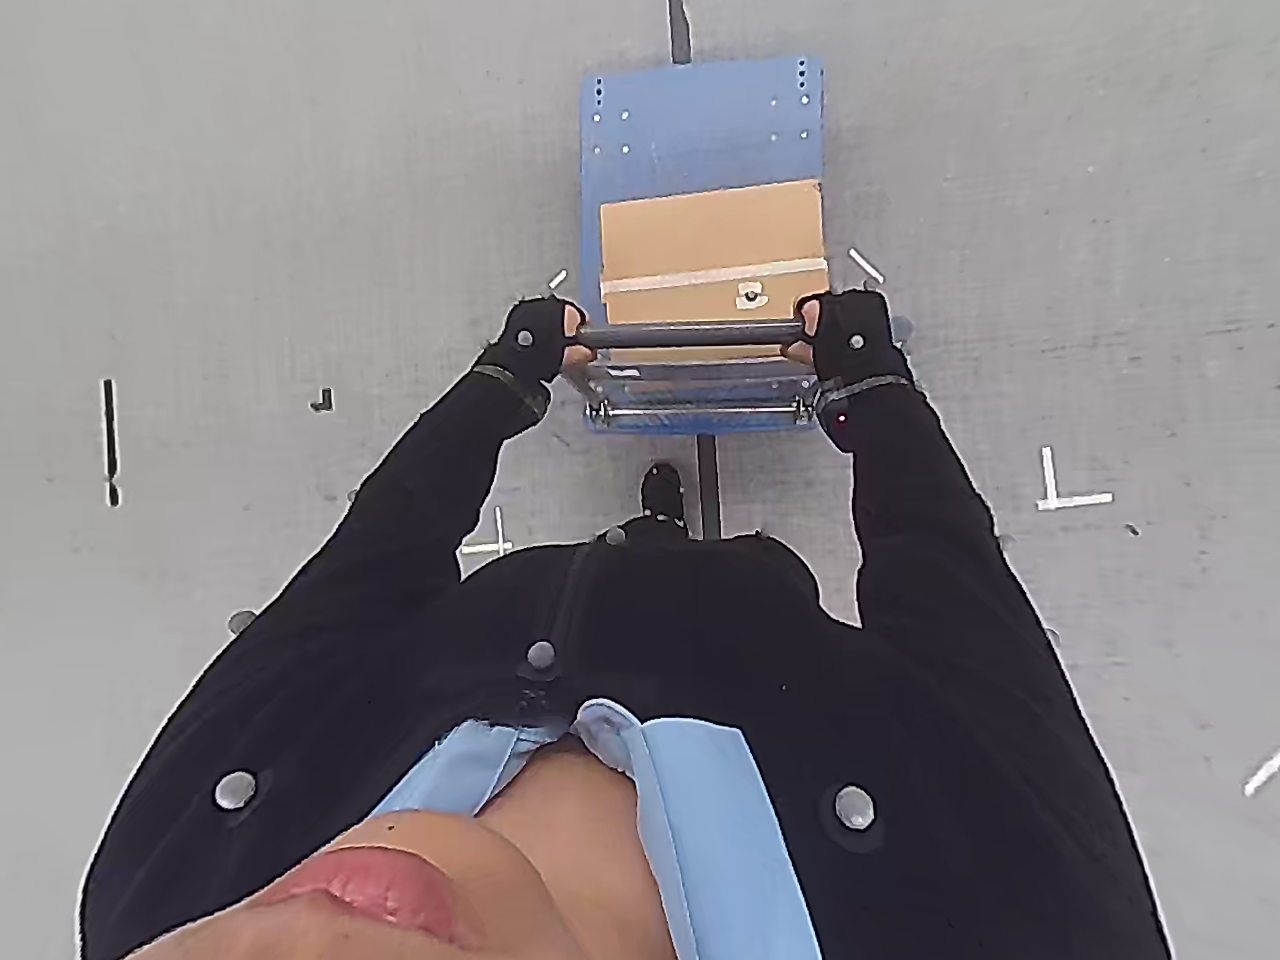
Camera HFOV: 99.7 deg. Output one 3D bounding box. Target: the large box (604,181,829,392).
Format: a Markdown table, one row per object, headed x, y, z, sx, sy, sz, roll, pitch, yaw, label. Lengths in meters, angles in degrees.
| x | y | z | sx | sy | sz | roll | pitch | yaw | label |
| --- | --- | --- | --- | --- | --- | --- | --- | --- | --- |
| 0.152 | -0.382 | 1.159 | 0.408 | 0.320 | 0.320 | -4 | 91 | 5 | large box |
